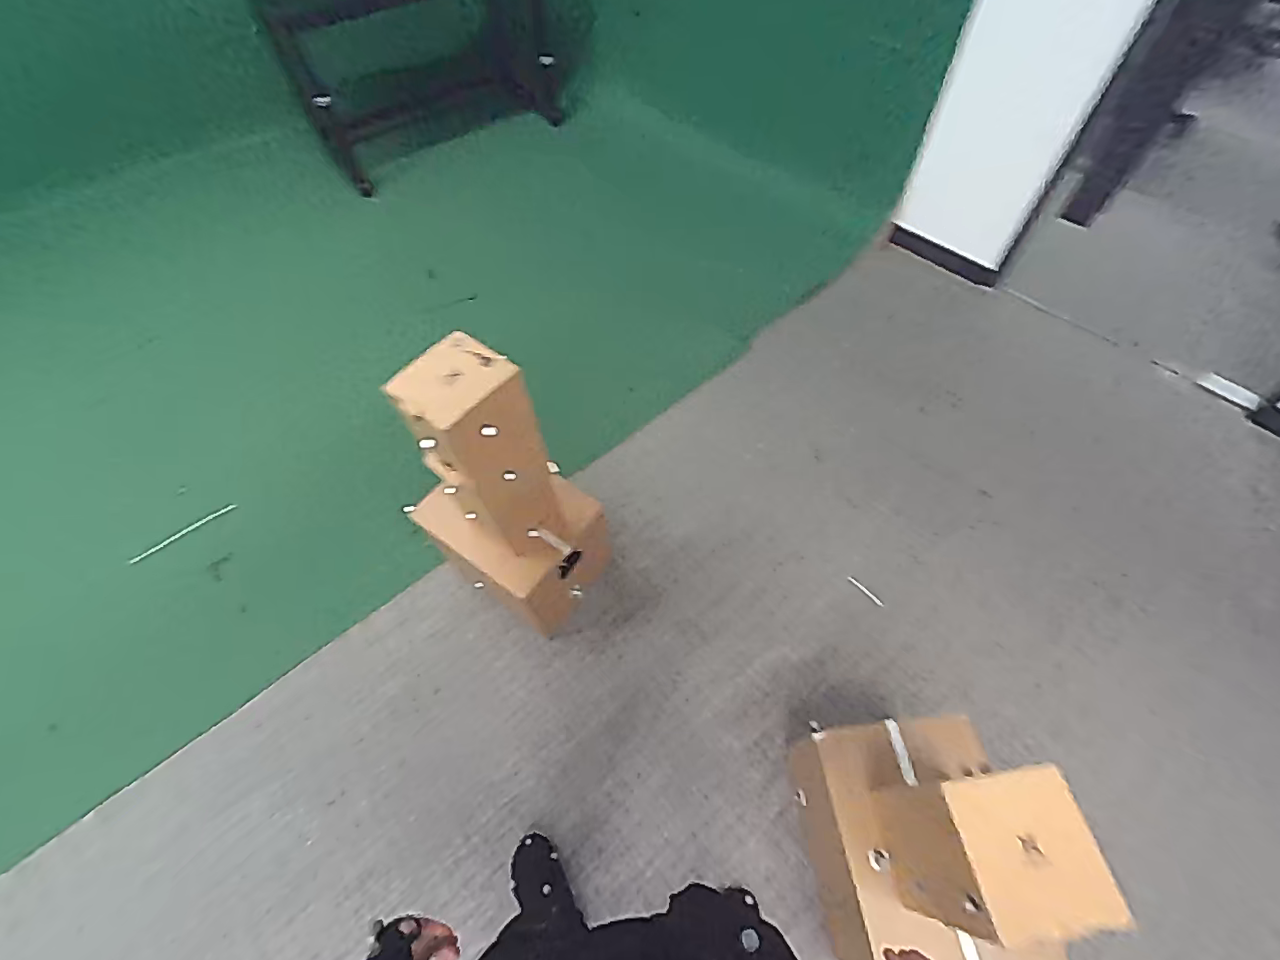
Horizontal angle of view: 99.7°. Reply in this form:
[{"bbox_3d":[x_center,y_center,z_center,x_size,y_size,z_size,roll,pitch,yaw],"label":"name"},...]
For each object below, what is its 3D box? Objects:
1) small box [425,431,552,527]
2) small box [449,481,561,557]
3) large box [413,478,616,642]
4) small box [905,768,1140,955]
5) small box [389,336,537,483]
[{"bbox_3d":[-0.308,-0.032,1.143,0.168,0.176,0.179,35,66,23],"label":"small box"},{"bbox_3d":[-0.311,0.054,1.282,0.179,0.176,0.168,34,66,22],"label":"small box"},{"bbox_3d":[-0.323,0.177,1.496,0.408,0.320,0.320,29,62,22],"label":"large box"},{"bbox_3d":[0.499,0.512,0.743,0.168,0.176,0.179,-8,58,-2],"label":"small box"},{"bbox_3d":[-0.317,-0.126,1.008,0.168,0.176,0.179,34,67,22],"label":"small box"}]
